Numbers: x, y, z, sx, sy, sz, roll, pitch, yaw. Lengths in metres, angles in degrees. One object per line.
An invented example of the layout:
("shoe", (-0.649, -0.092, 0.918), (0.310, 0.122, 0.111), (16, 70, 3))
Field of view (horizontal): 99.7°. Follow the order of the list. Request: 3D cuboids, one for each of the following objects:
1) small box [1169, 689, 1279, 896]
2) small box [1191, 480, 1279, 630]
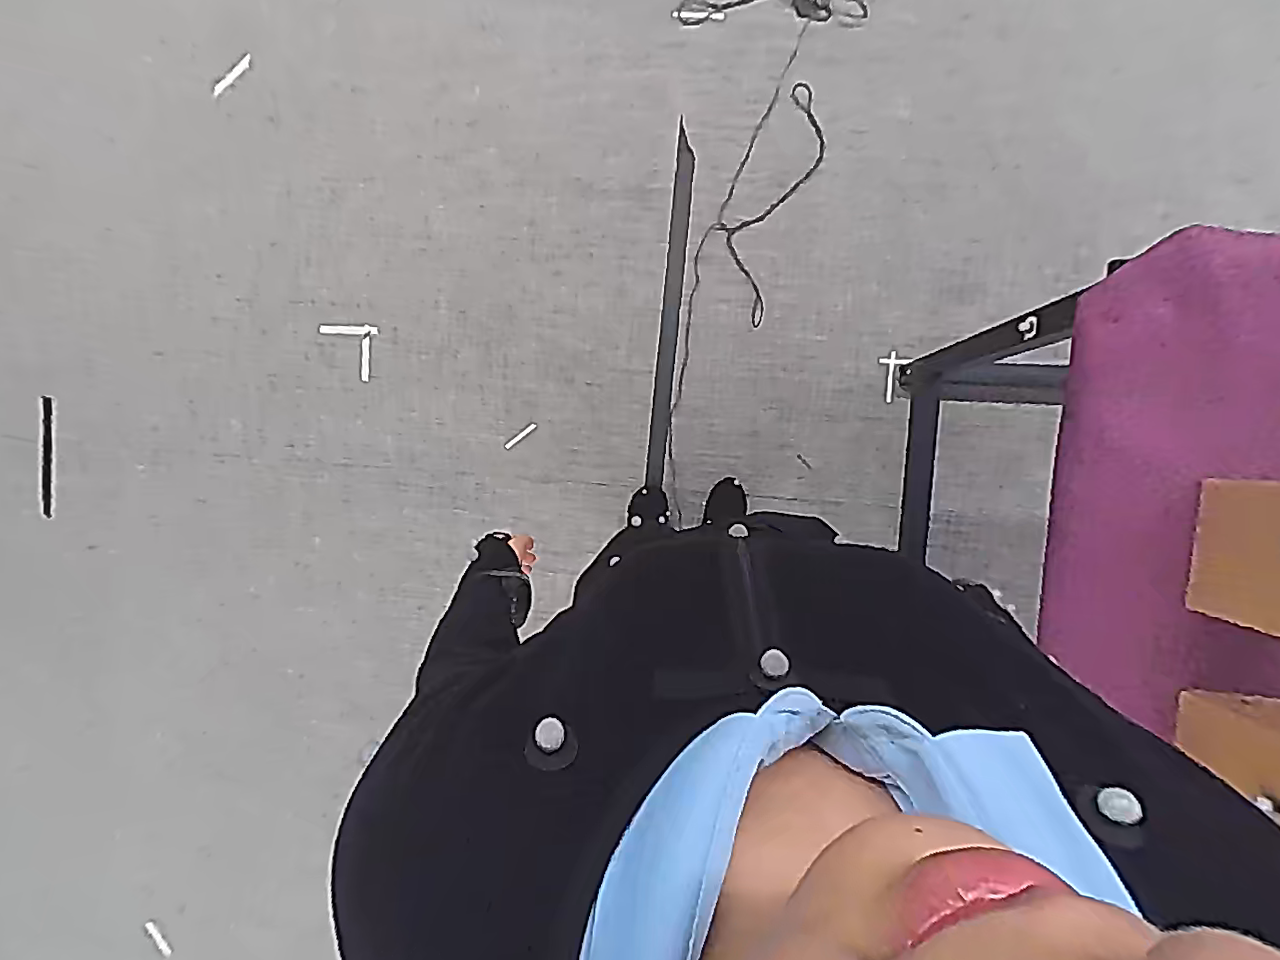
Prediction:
("small box", (0.800, 0.380, 0.651), (0.168, 0.176, 0.179), (5, 92, 4))
("small box", (0.814, 0.095, 0.634), (0.168, 0.176, 0.179), (5, 94, 4))
